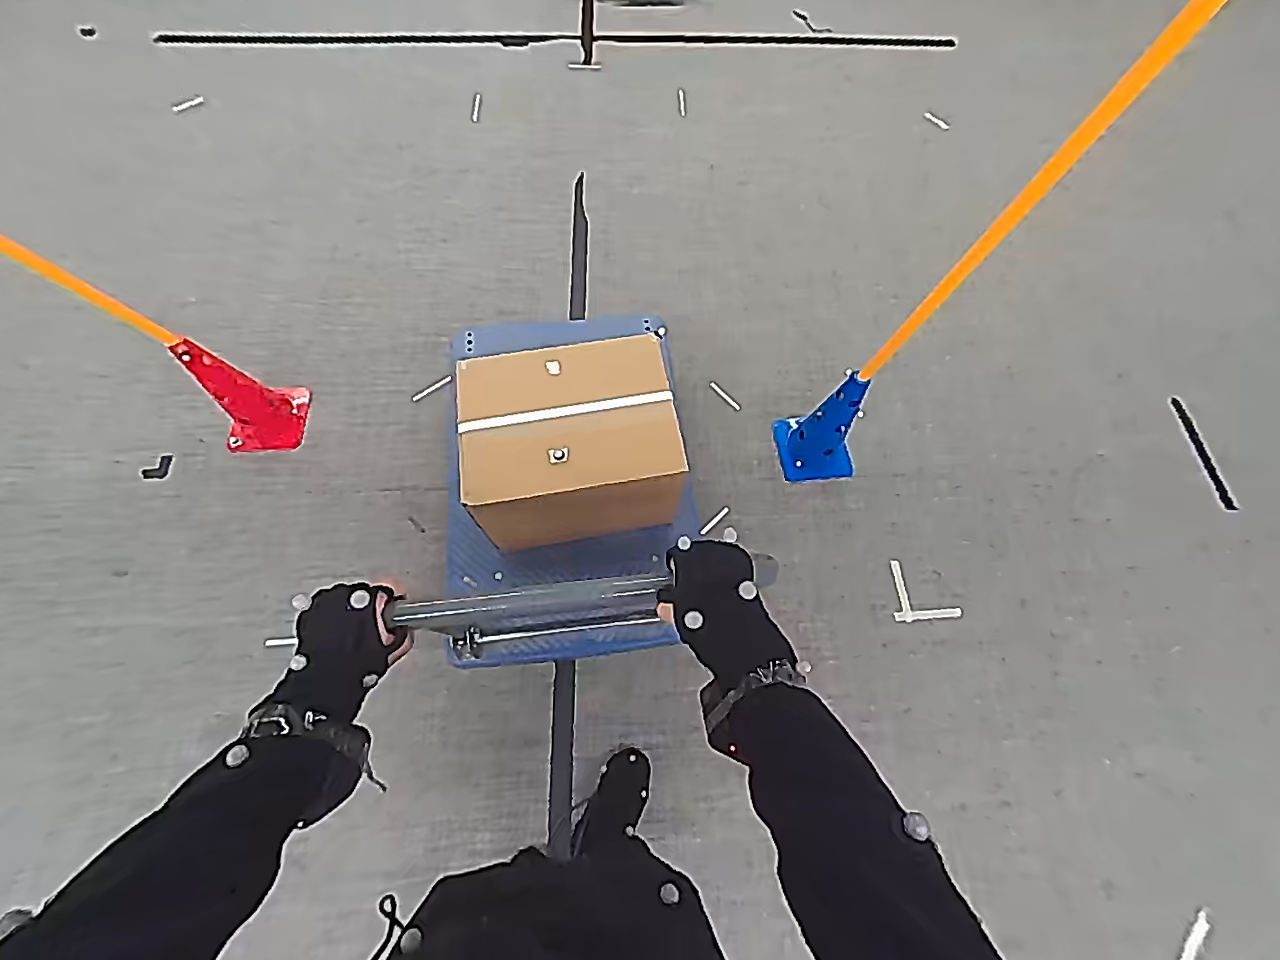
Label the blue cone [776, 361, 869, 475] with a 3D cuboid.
[{"bbox_3d":[0.502,-0.171,1.395,0.193,0.380,0.192,-5,66,-4],"label":"blue cone"}]
